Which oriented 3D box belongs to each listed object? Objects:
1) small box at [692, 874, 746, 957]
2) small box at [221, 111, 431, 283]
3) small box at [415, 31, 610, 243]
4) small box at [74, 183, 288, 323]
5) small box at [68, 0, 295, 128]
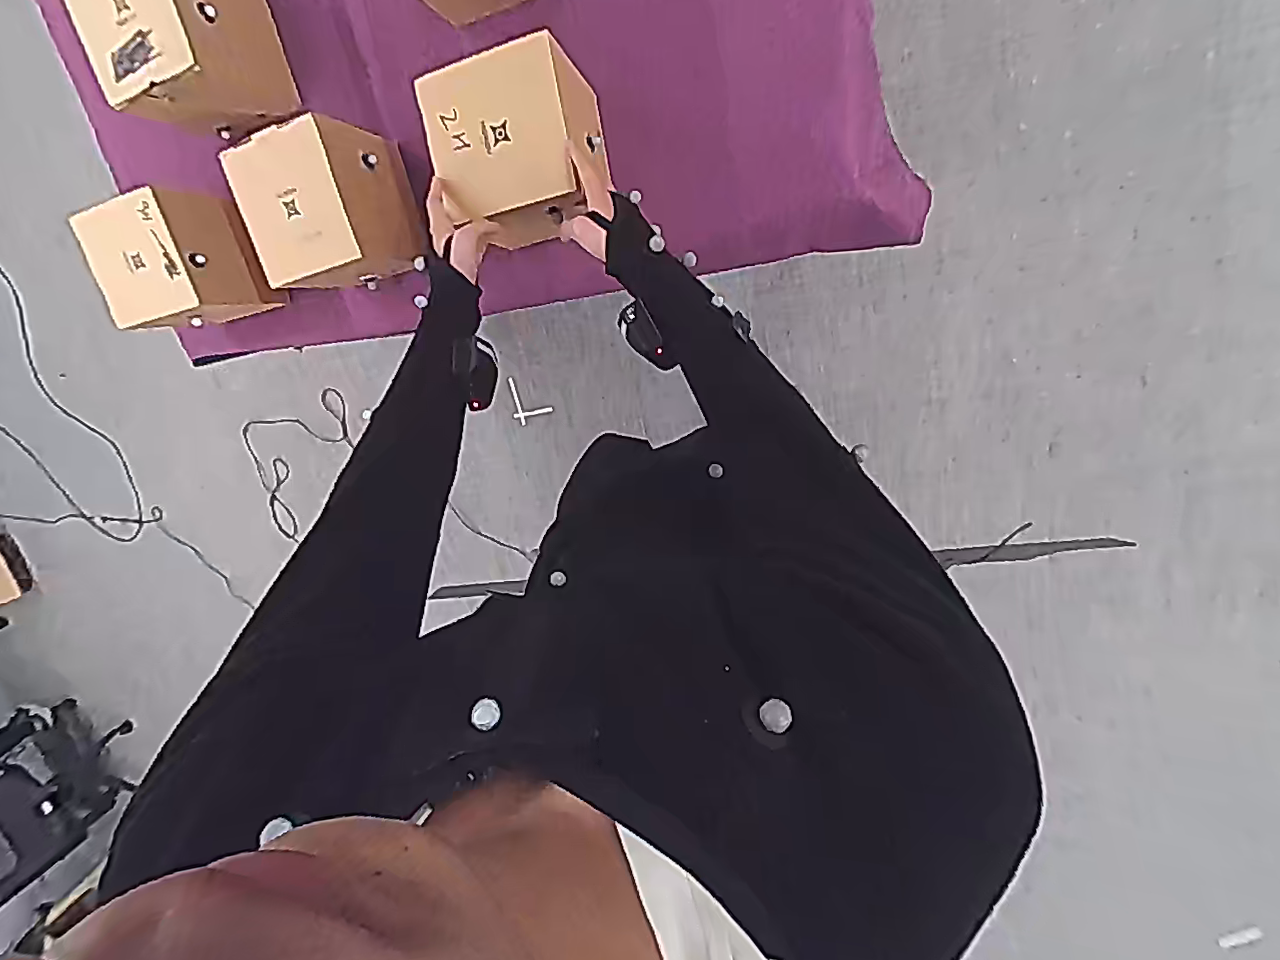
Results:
[{"bbox_3d":[0.303,1.639,2.039,0.168,0.176,0.179,-8,104,16],"label":"small box"},{"bbox_3d":[-0.442,-0.394,0.789,0.168,0.176,0.179,-8,108,17],"label":"small box"},{"bbox_3d":[-0.148,-0.421,0.699,0.179,0.176,0.168,-7,103,17],"label":"small box"},{"bbox_3d":[-0.723,-0.353,0.870,0.179,0.176,0.168,-7,107,17],"label":"small box"},{"bbox_3d":[-0.633,-0.622,0.757,0.168,0.176,0.179,-8,106,16],"label":"small box"}]
